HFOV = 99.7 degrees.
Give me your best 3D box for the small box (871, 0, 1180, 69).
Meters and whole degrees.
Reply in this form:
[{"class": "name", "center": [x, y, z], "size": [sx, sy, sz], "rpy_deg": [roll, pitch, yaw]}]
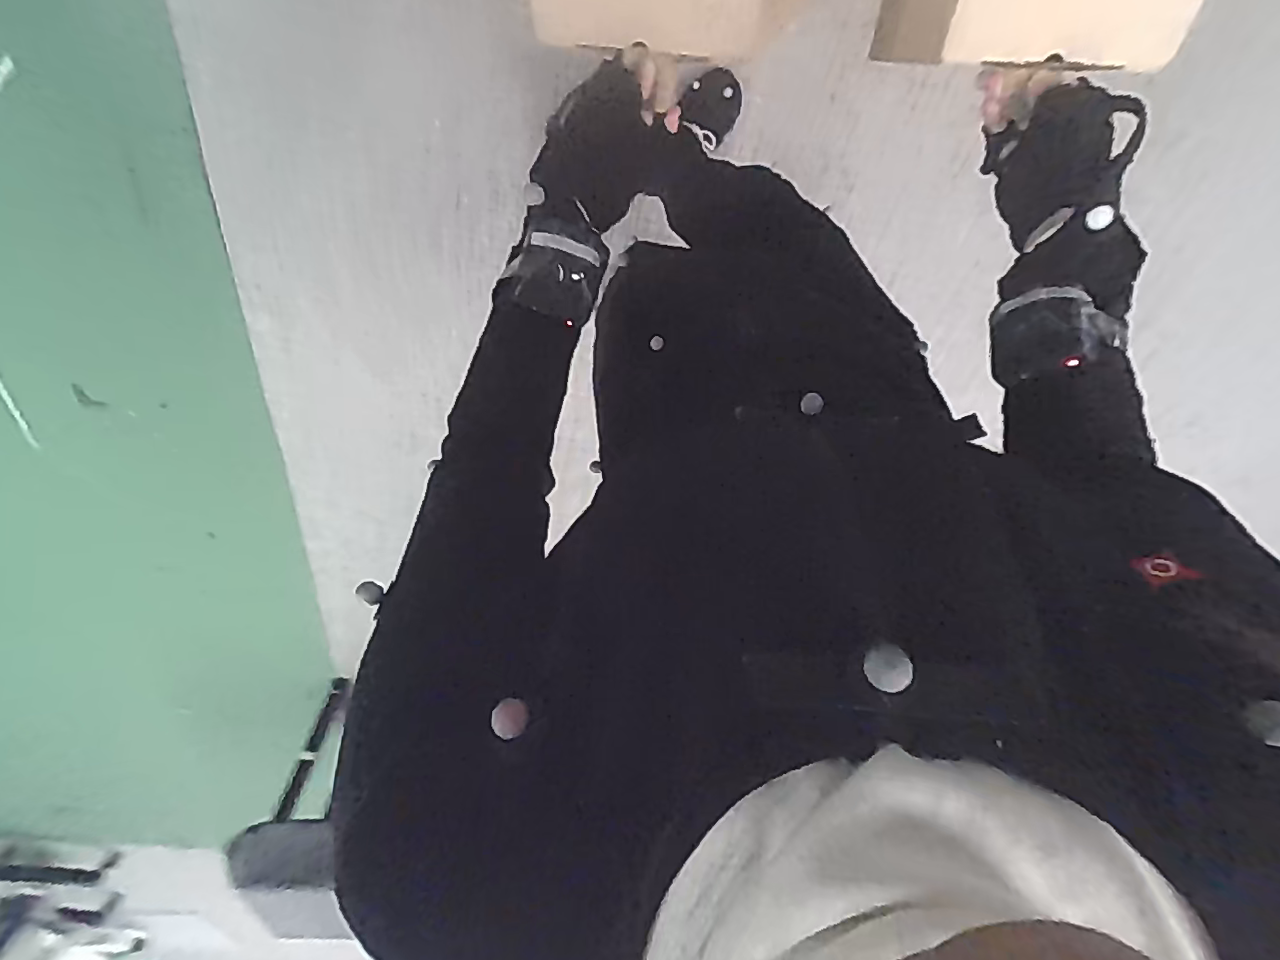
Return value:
[{"class": "small box", "center": [0.293, -0.423, 0.402], "size": [0.168, 0.176, 0.179], "rpy_deg": [1, 130, 0]}]
